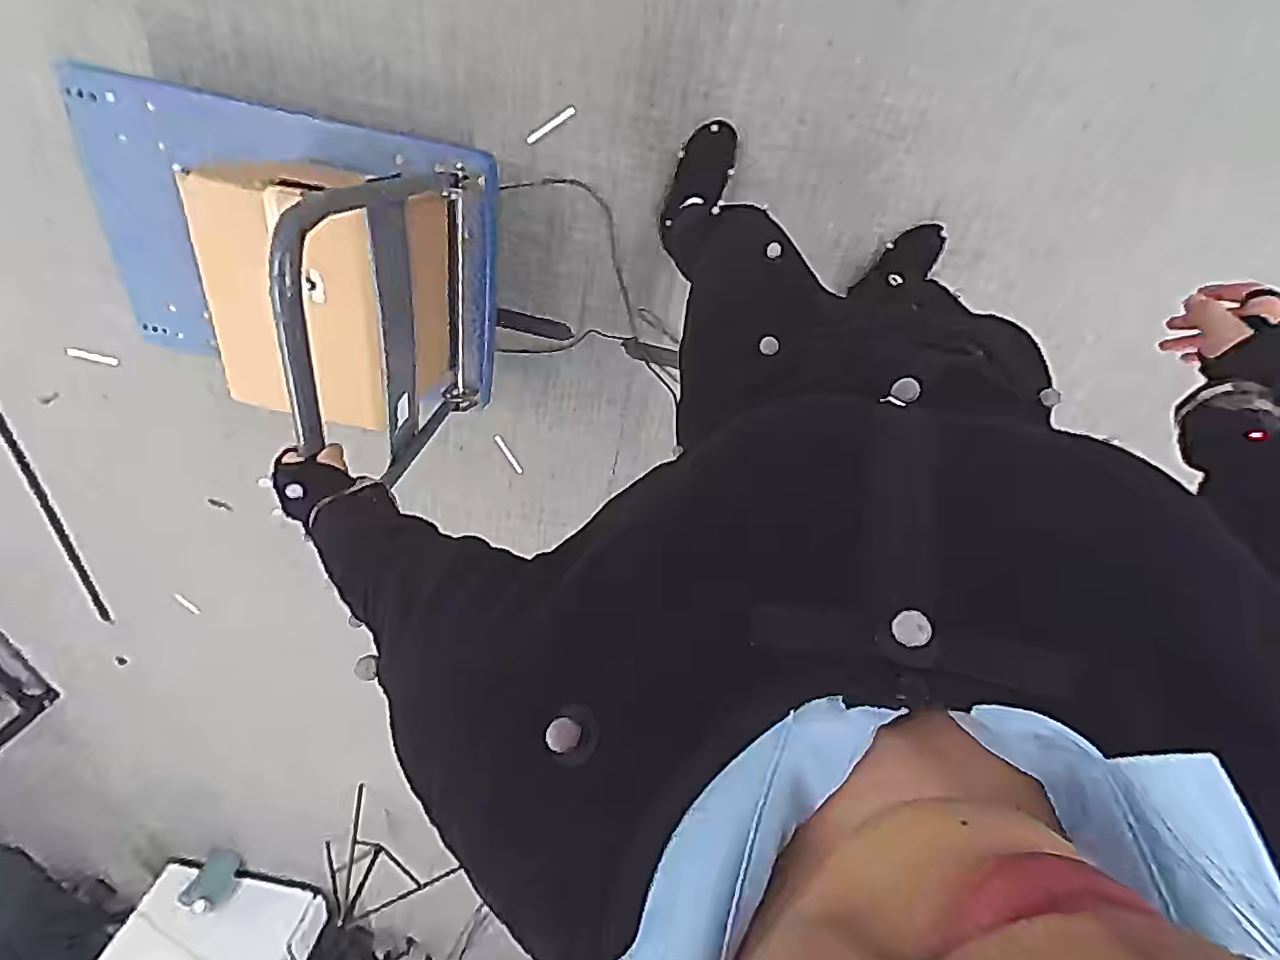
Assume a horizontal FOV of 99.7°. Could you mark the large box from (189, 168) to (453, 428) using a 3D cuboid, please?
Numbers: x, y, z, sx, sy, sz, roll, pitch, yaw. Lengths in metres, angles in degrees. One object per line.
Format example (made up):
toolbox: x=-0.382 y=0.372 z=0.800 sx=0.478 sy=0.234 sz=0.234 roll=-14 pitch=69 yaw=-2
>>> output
large box: x=-0.588 y=-0.371 z=1.092 sx=0.320 sy=0.320 sz=0.408 roll=11 pitch=122 yaw=-1
